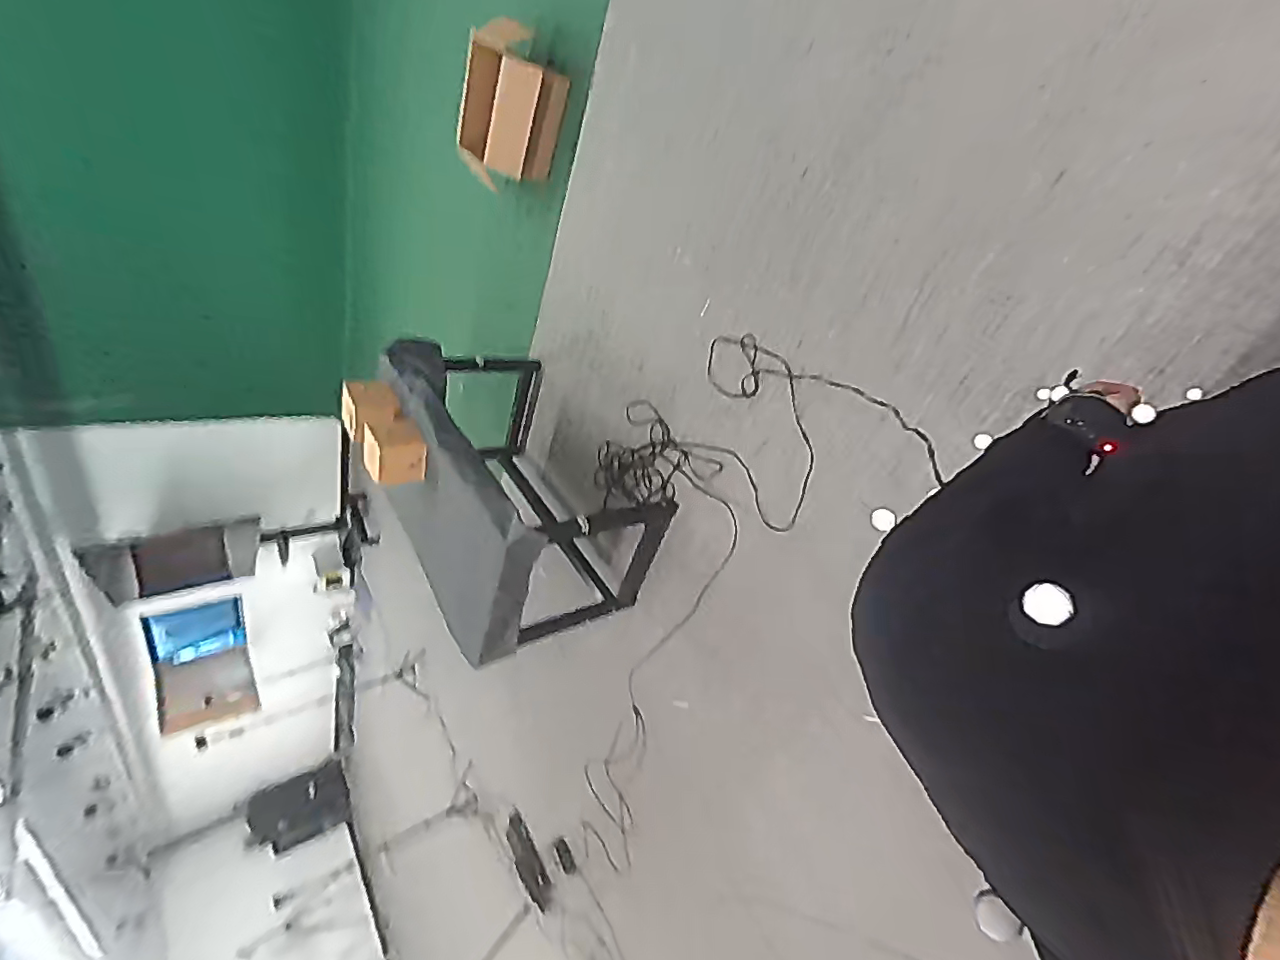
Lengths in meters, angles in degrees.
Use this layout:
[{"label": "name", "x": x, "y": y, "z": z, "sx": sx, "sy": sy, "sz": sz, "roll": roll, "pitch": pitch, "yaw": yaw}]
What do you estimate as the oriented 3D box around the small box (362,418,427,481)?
[{"label": "small box", "x": -0.903, "y": -0.116, "z": 1.986, "sx": 0.179, "sy": 0.176, "sz": 0.168, "roll": 44, "pitch": 128, "yaw": 35}]
